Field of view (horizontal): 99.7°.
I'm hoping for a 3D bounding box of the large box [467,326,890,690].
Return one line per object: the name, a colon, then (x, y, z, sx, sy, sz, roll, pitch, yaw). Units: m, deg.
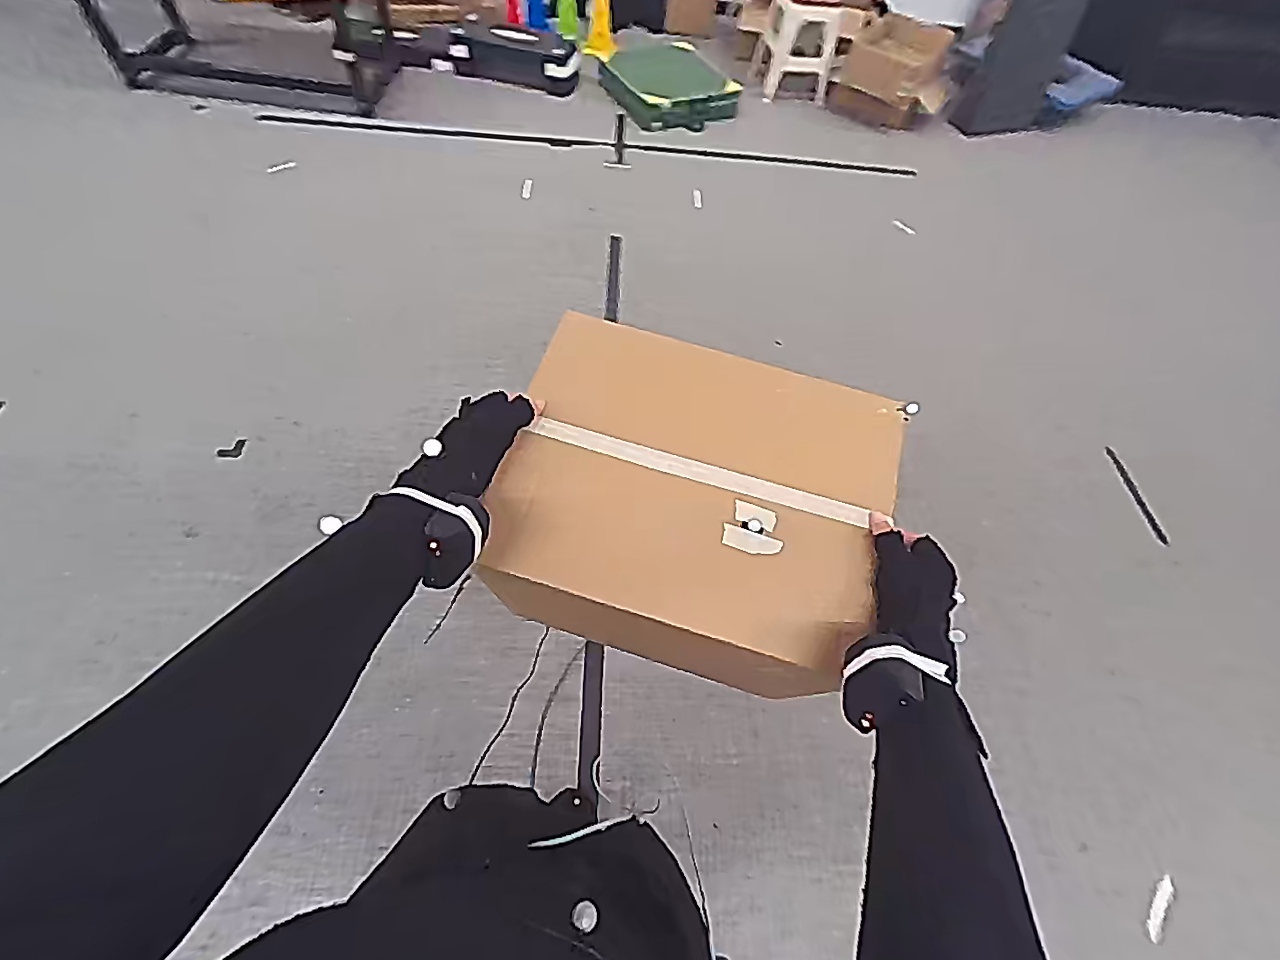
large box: (0.049, 0.057, 0.711, 0.408, 0.320, 0.320, 16, 67, 4)
